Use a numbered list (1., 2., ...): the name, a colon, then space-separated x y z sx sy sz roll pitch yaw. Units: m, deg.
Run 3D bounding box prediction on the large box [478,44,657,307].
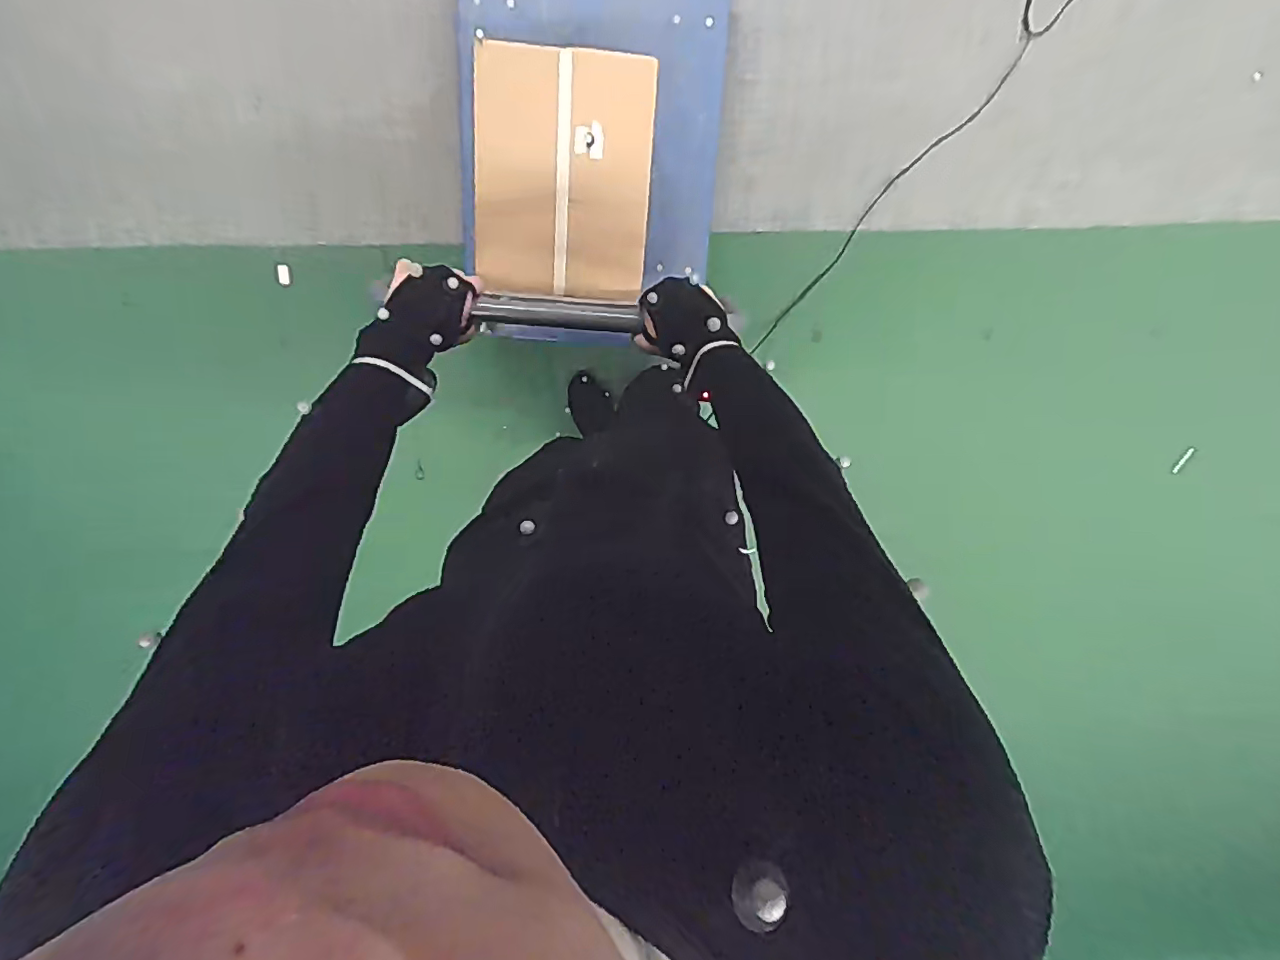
1. large box: -0.140 -0.578 1.118 0.320 0.320 0.408 4 105 -4
